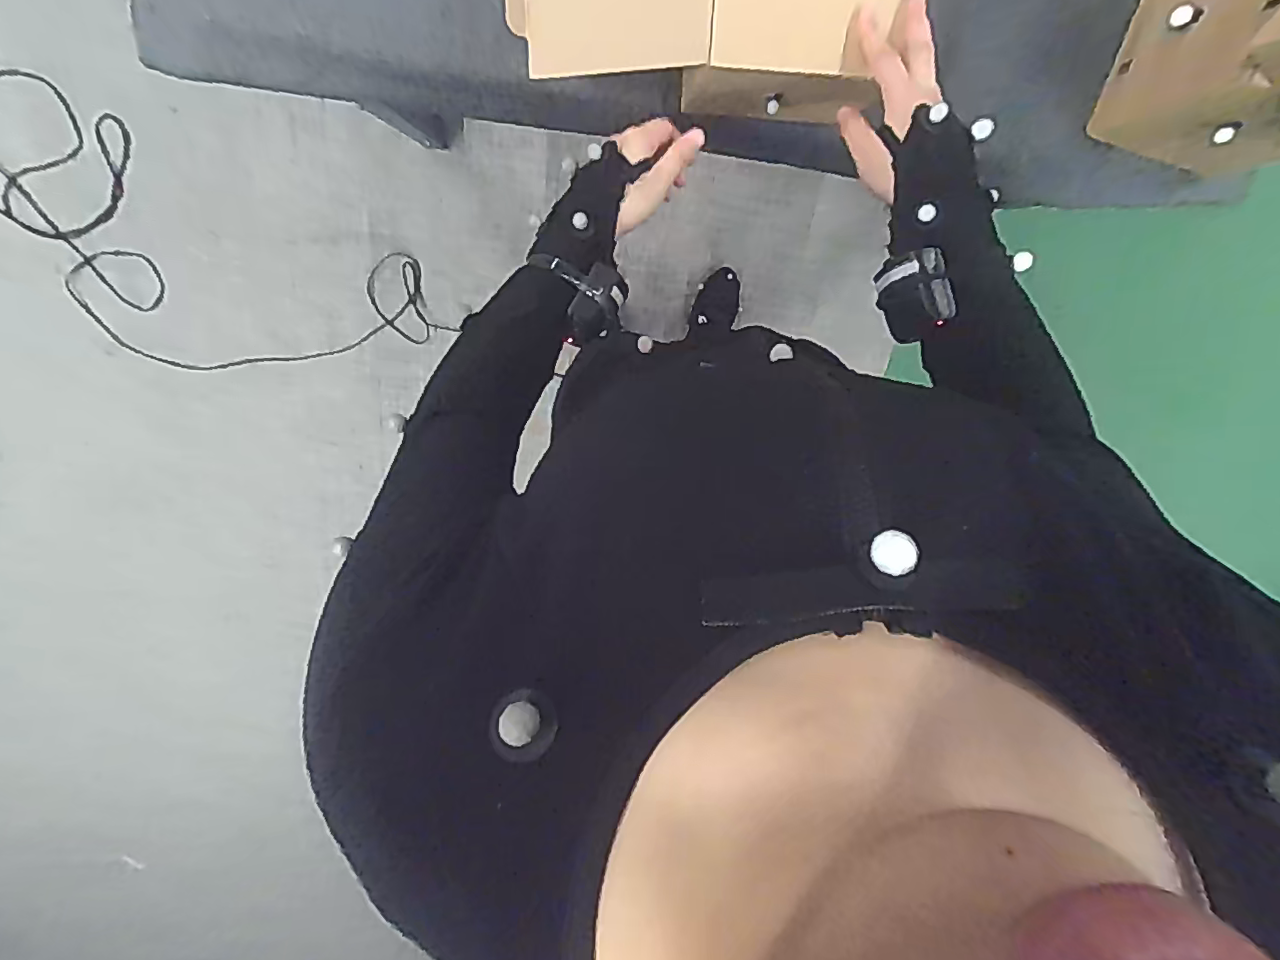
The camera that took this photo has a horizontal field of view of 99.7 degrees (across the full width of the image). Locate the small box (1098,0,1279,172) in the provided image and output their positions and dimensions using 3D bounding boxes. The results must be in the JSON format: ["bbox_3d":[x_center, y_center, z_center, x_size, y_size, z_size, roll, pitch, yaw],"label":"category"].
[{"bbox_3d":[0.615,-0.422,0.526,0.179,0.176,0.168,11,108,-7],"label":"small box"}]

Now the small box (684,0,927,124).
[{"bbox_3d":[0.141,-0.438,0.490,0.179,0.176,0.168,2,113,-2],"label":"small box"}]
